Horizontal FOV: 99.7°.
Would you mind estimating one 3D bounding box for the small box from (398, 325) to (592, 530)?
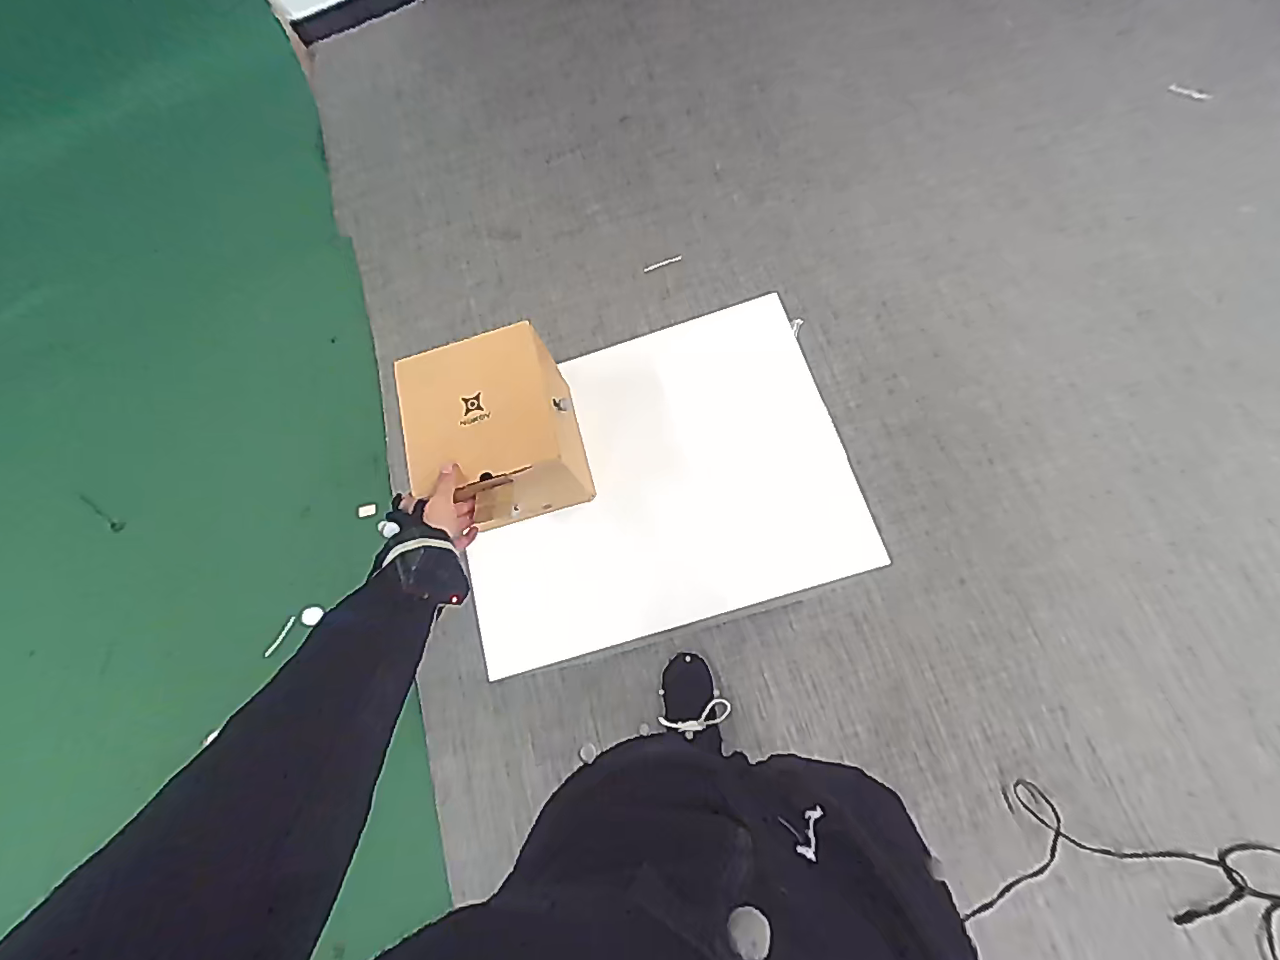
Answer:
[{"bbox_3d":[-0.168,-0.054,0.664,0.168,0.176,0.179,-16,73,3],"label":"small box"}]
